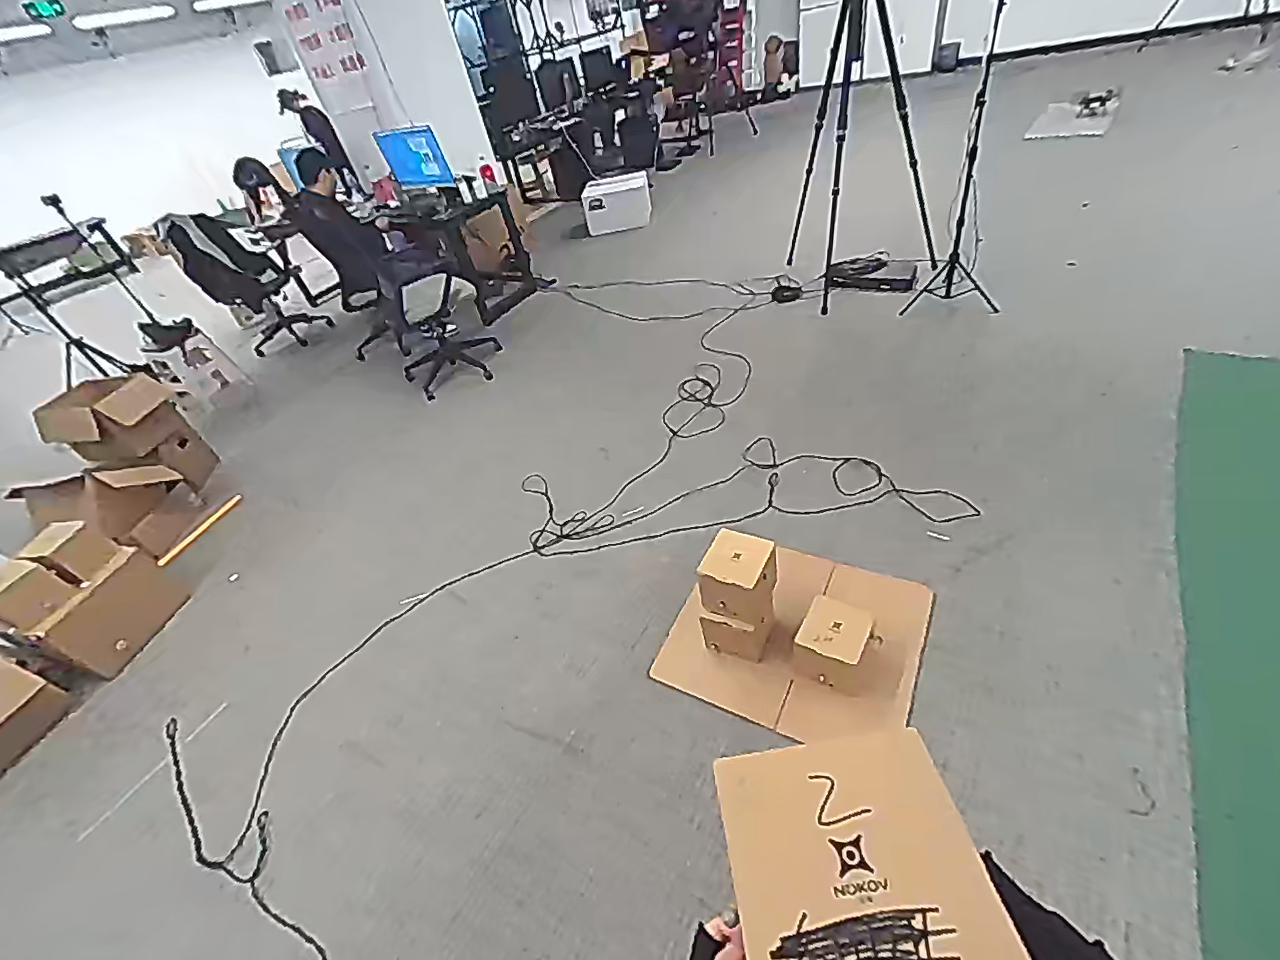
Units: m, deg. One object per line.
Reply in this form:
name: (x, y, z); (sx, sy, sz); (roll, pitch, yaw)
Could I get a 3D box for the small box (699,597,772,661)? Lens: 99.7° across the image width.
small box: (0.294, 0.414, 1.625); (0.168, 0.176, 0.179); (11, 46, 28)

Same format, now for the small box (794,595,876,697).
small box: (0.539, 0.460, 1.501); (0.168, 0.176, 0.179); (16, 50, 33)

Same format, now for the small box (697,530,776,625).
small box: (0.279, 0.276, 1.535); (0.168, 0.176, 0.179); (14, 48, 29)
